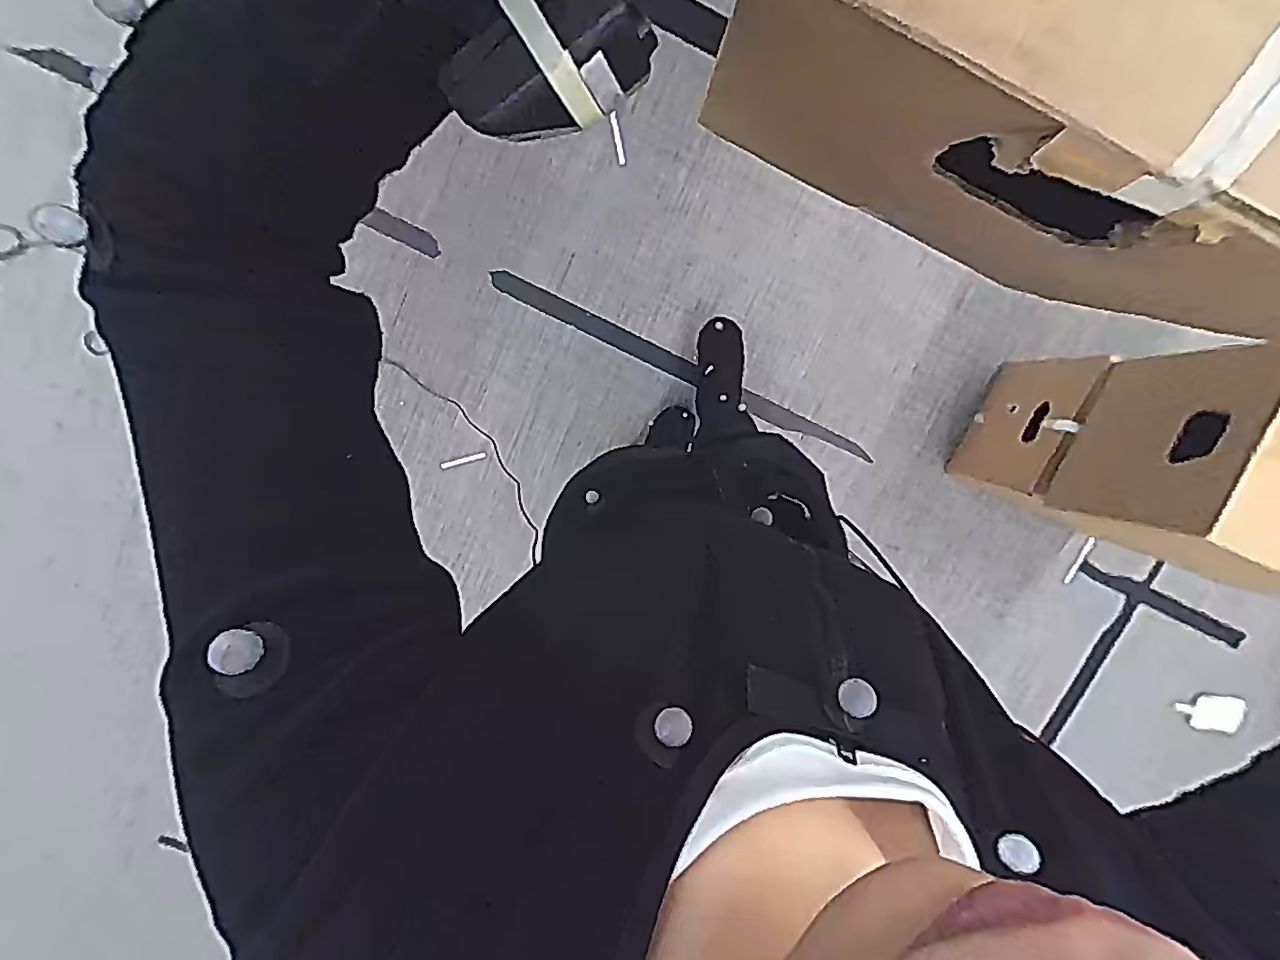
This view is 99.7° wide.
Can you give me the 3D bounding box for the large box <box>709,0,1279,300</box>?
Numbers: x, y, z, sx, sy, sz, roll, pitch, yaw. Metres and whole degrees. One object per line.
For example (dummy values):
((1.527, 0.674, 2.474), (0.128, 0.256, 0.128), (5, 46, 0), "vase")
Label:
((0.258, -0.337, 0.230), (0.320, 0.320, 0.408), (21, 115, -7), "large box")
